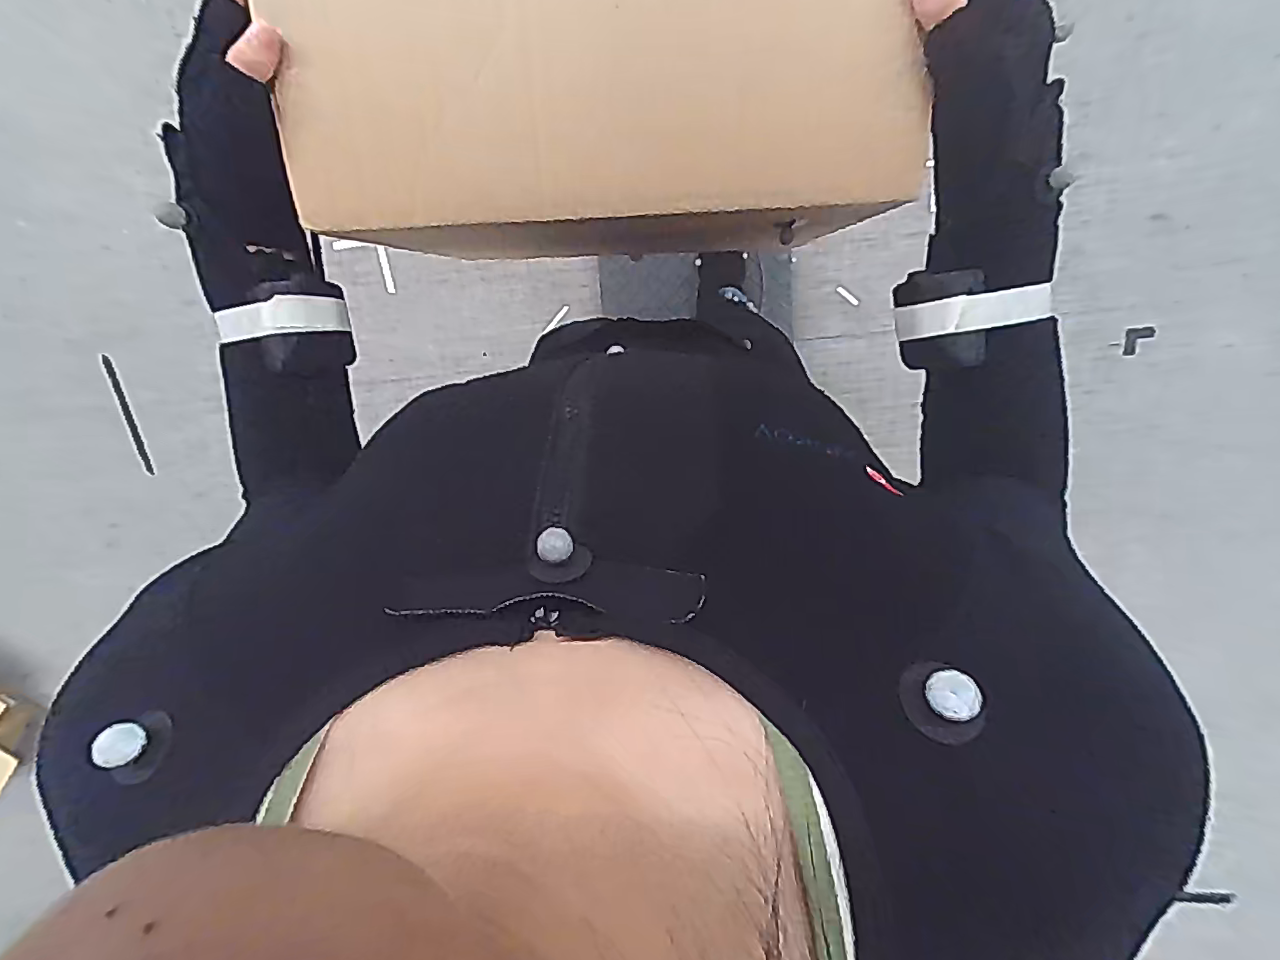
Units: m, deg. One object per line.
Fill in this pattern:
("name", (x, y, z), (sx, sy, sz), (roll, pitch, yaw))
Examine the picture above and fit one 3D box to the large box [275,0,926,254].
("large box", (-0.021, -0.374, 0.457), (0.408, 0.320, 0.320), (-2, 108, 3))
